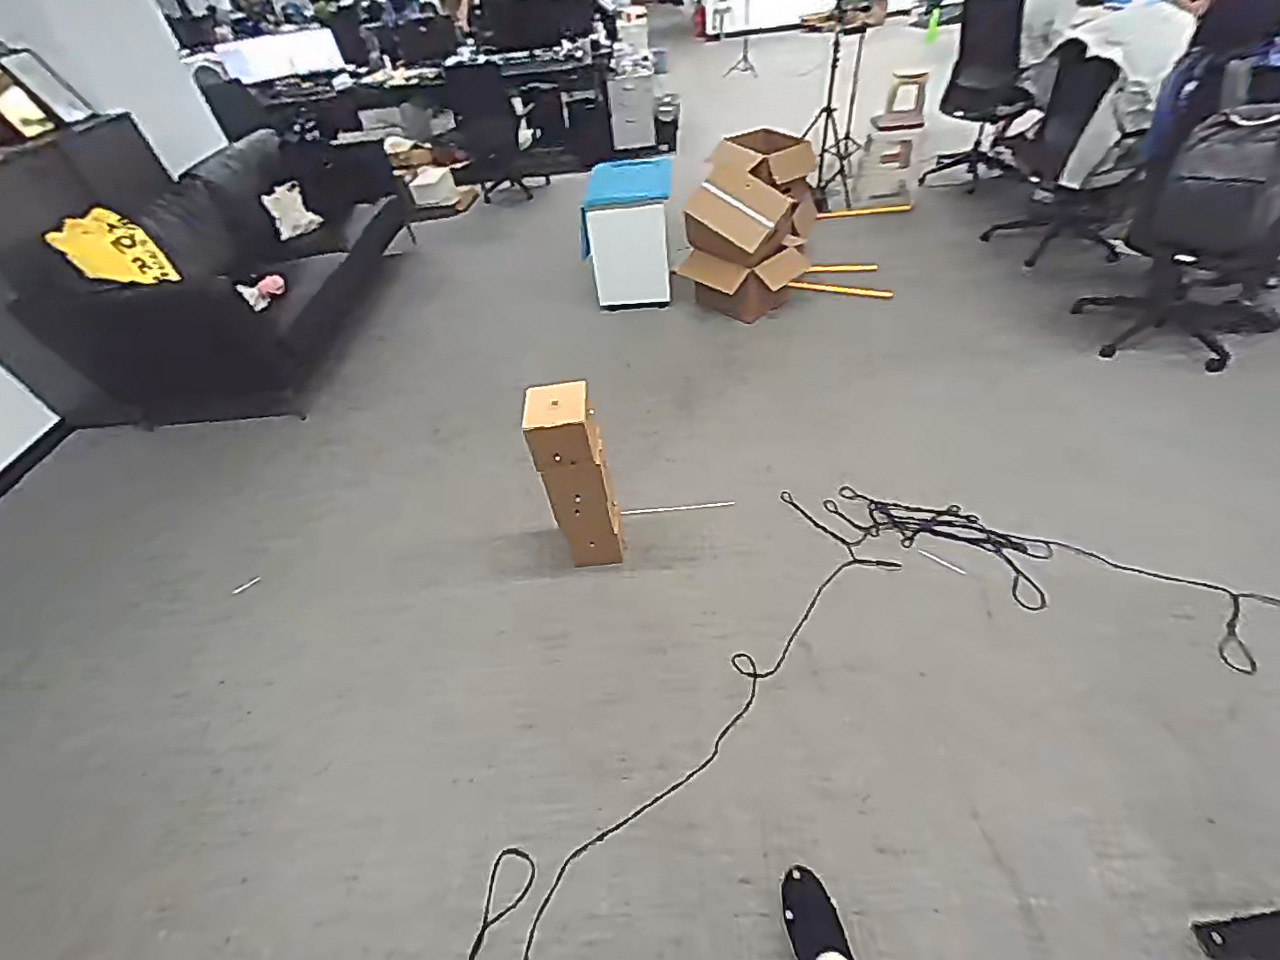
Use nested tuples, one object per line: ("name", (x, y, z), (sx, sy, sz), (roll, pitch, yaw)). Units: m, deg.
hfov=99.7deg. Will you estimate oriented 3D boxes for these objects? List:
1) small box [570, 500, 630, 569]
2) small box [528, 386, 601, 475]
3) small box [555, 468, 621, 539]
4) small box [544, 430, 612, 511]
("small box", (-0.134, 0.192, 1.864), (0.179, 0.176, 0.168), (-5, 45, 4))
("small box", (-0.204, -0.137, 1.506), (0.168, 0.176, 0.179), (-7, 46, 3))
("small box", (-0.163, 0.078, 1.749), (0.179, 0.176, 0.168), (-5, 46, 4))
("small box", (-0.178, -0.026, 1.623), (0.179, 0.176, 0.168), (-7, 45, 3))
